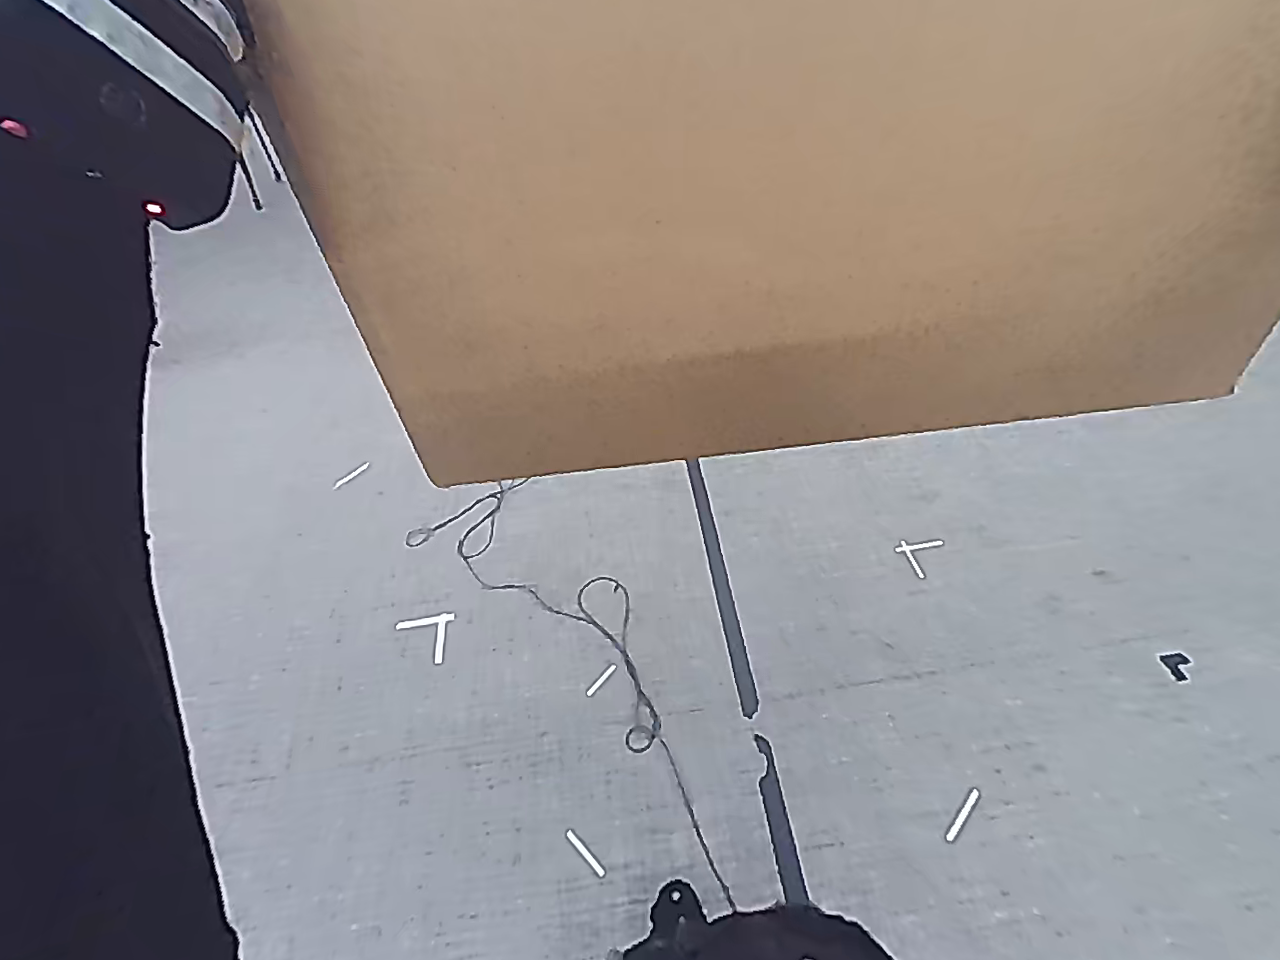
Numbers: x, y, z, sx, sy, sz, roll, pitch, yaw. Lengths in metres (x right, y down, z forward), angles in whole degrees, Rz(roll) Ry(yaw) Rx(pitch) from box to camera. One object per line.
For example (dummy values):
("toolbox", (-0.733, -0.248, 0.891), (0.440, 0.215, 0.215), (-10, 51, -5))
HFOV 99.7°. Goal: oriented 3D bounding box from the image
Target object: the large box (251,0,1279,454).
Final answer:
("large box", (0.064, -0.241, 0.301), (0.408, 0.320, 0.320), (-6, 41, 0))
